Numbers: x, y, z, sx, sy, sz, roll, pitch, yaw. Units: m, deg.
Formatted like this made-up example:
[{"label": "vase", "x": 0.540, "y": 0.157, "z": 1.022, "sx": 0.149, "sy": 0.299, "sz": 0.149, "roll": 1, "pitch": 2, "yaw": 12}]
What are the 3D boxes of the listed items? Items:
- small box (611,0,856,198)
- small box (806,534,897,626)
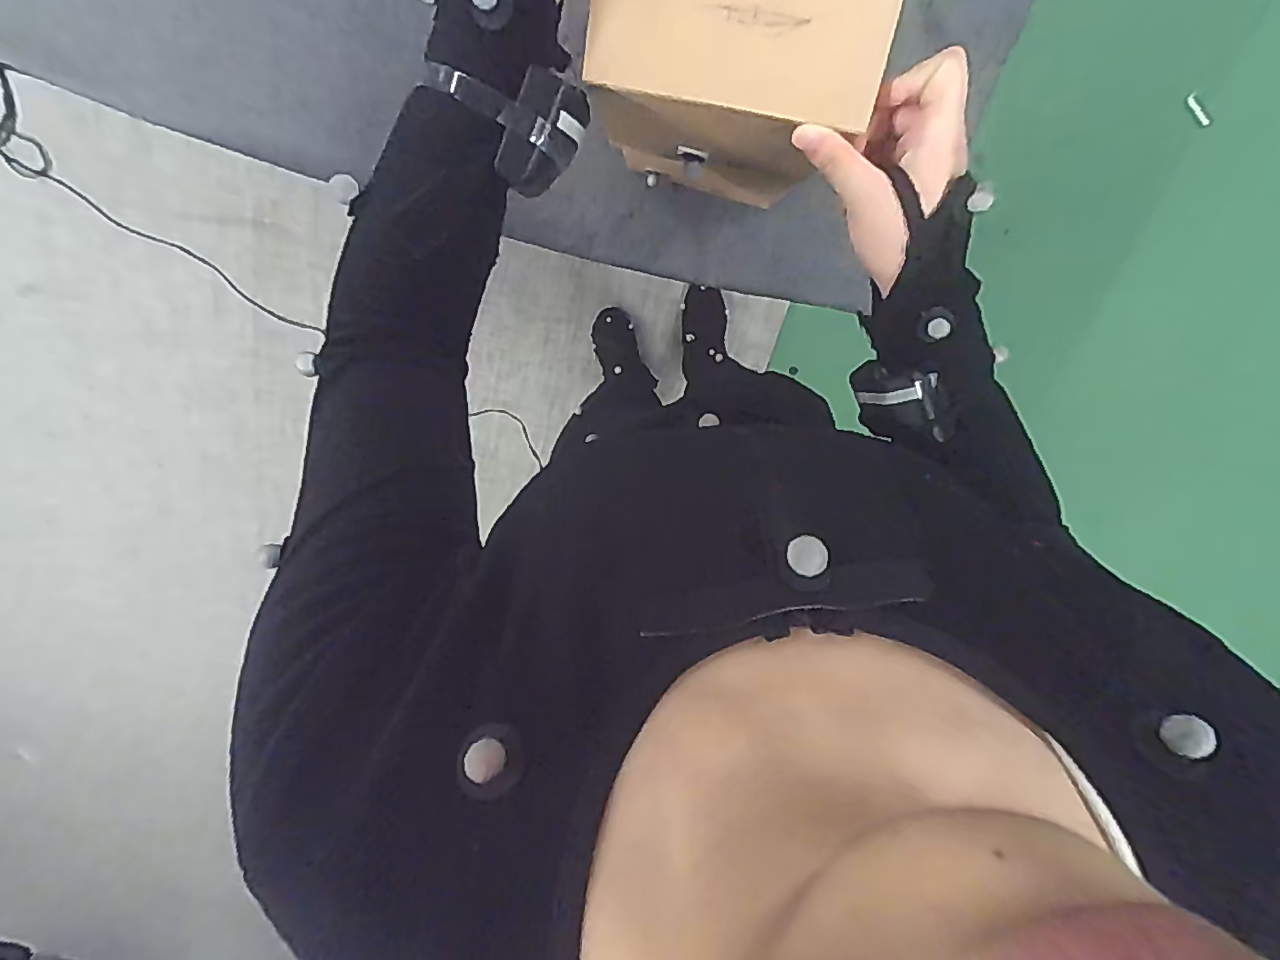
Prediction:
[{"label": "small box", "x": 0.081, "y": -0.380, "z": 0.496, "sx": 0.168, "sy": 0.176, "sz": 0.179, "roll": 15, "pitch": 109, "yaw": -3}, {"label": "small box", "x": 0.588, "y": 0.277, "z": 1.536, "sx": 0.168, "sy": 0.176, "sz": 0.179, "roll": 15, "pitch": 113, "yaw": -2}]
